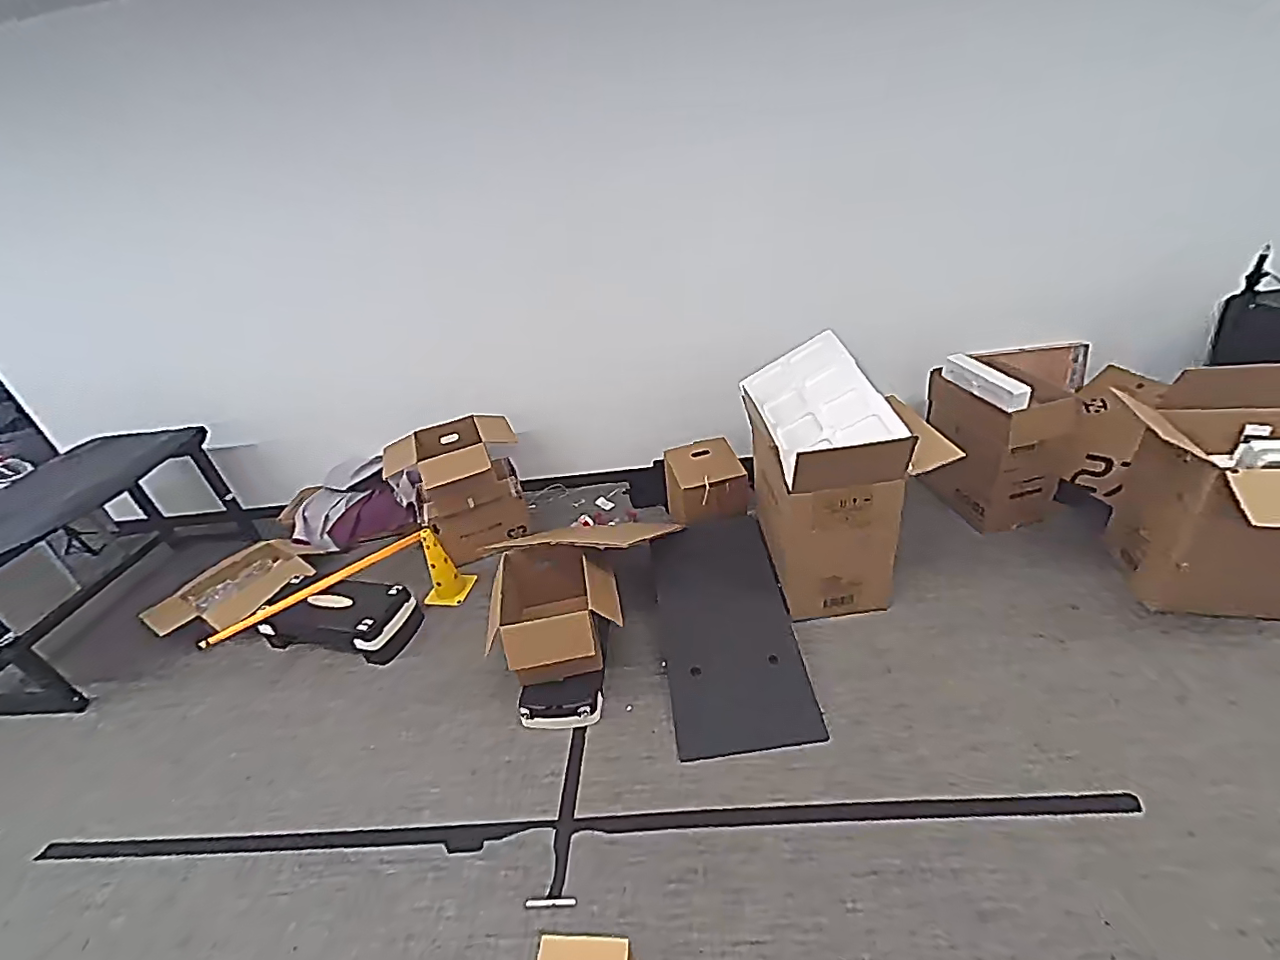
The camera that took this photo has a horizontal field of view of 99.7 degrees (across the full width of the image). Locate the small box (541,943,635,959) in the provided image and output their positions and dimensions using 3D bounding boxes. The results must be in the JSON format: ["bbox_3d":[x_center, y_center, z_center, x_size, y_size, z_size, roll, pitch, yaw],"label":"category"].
[{"bbox_3d":[-0.092,0.951,0.940,0.168,0.176,0.179,-4,32,7],"label":"small box"}]
